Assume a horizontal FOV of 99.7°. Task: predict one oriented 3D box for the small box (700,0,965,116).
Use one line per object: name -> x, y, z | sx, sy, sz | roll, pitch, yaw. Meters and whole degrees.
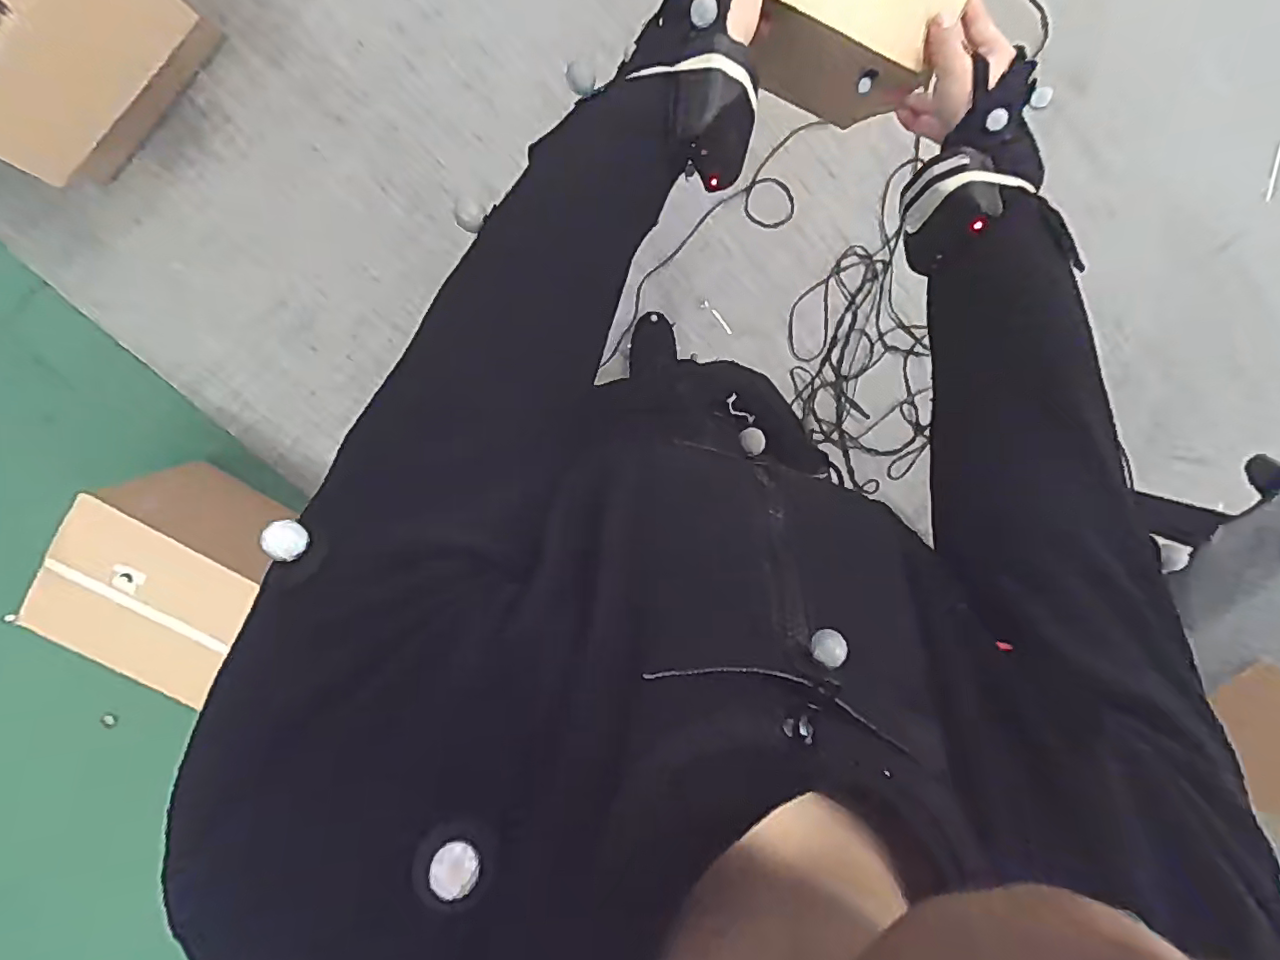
small box -> 0.165, -0.437, 0.448 | 0.179, 0.176, 0.168 | 17, 110, -11
